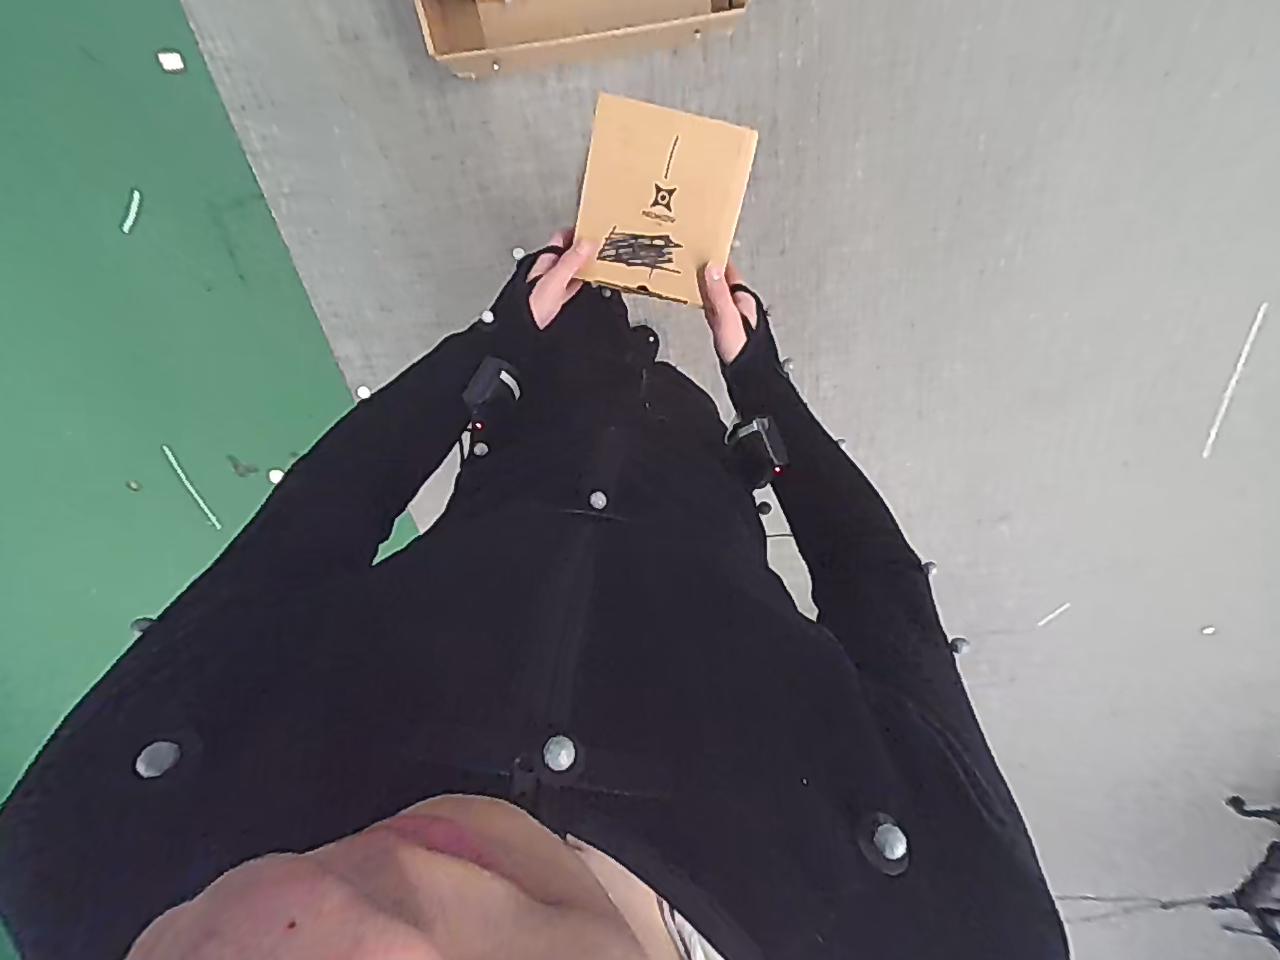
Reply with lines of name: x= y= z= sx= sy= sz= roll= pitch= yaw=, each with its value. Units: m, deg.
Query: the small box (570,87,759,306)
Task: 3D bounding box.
small box: x=0.025 y=-0.311 z=0.633 sx=0.168 sy=0.176 sz=0.179 roll=13 pitch=108 yaw=-2

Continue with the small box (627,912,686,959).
small box: x=0.056 y=1.482 z=1.681 sx=0.168 sy=0.176 sz=0.179 roll=-8 pitch=120 yaw=5
